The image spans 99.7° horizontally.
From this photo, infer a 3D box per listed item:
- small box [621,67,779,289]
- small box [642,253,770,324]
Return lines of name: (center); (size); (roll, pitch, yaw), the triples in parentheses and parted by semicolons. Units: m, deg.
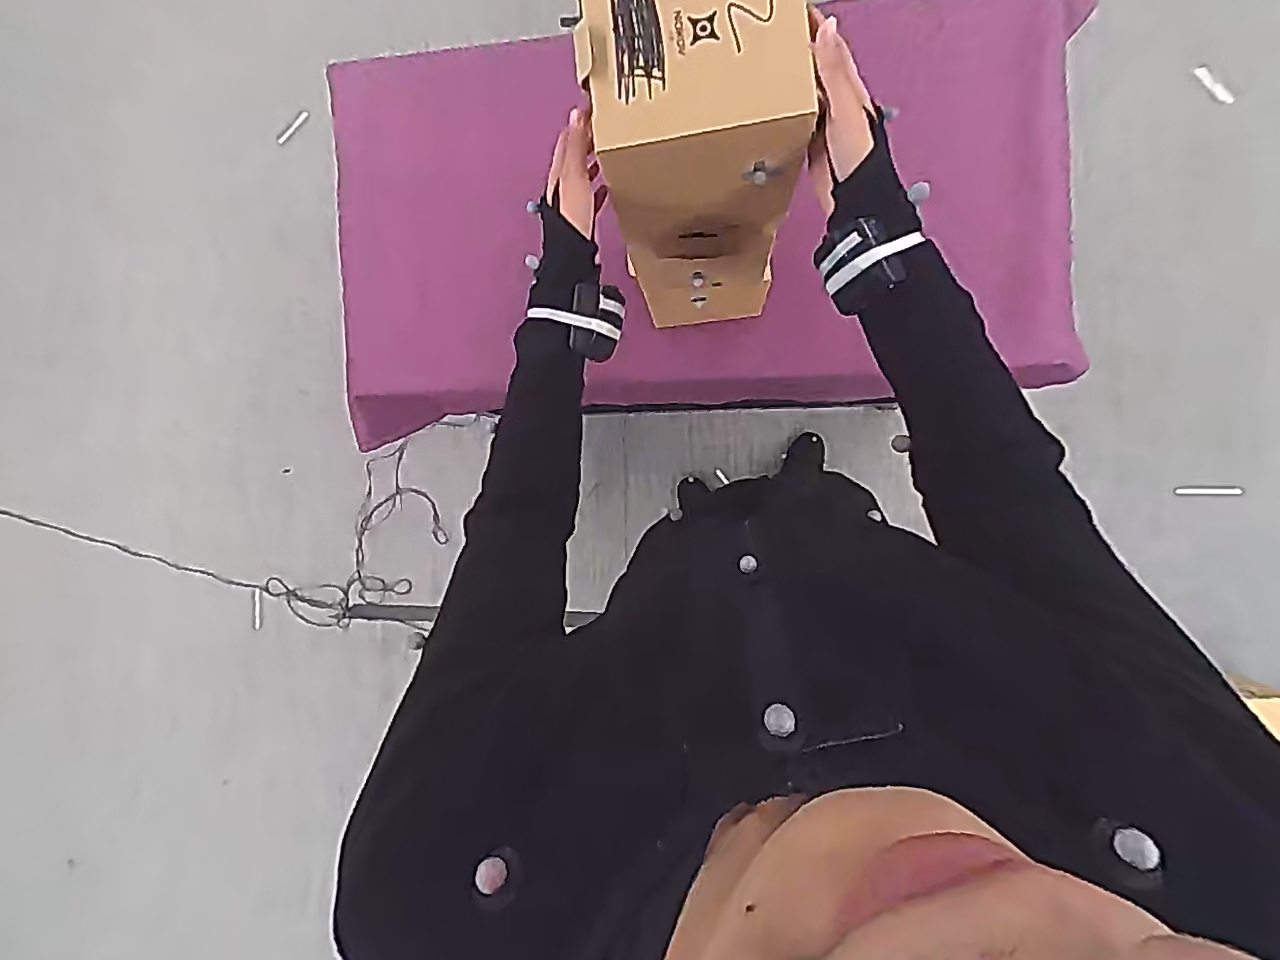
small box: (0.072, -0.347, 0.654); (0.168, 0.176, 0.179); (1, 91, 8)
small box: (0.094, -0.345, 0.817); (0.179, 0.176, 0.168); (-5, 90, 7)
